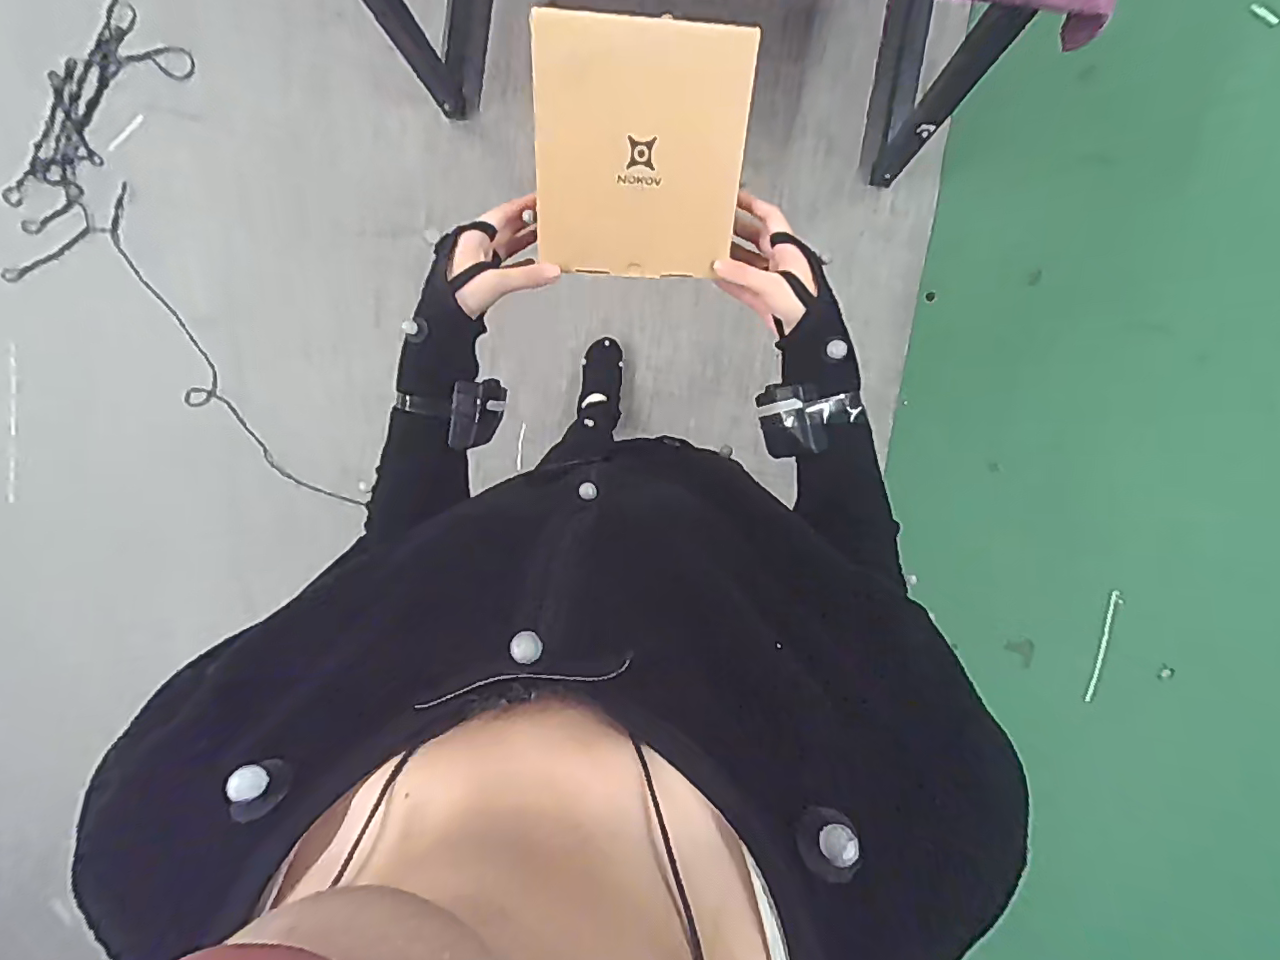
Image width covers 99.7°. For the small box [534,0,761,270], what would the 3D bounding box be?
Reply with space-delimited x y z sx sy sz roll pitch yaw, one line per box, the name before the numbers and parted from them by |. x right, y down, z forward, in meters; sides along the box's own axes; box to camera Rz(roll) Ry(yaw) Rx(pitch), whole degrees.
small box | -0.007 -0.300 0.487 0.168 0.176 0.179 1 122 -6
